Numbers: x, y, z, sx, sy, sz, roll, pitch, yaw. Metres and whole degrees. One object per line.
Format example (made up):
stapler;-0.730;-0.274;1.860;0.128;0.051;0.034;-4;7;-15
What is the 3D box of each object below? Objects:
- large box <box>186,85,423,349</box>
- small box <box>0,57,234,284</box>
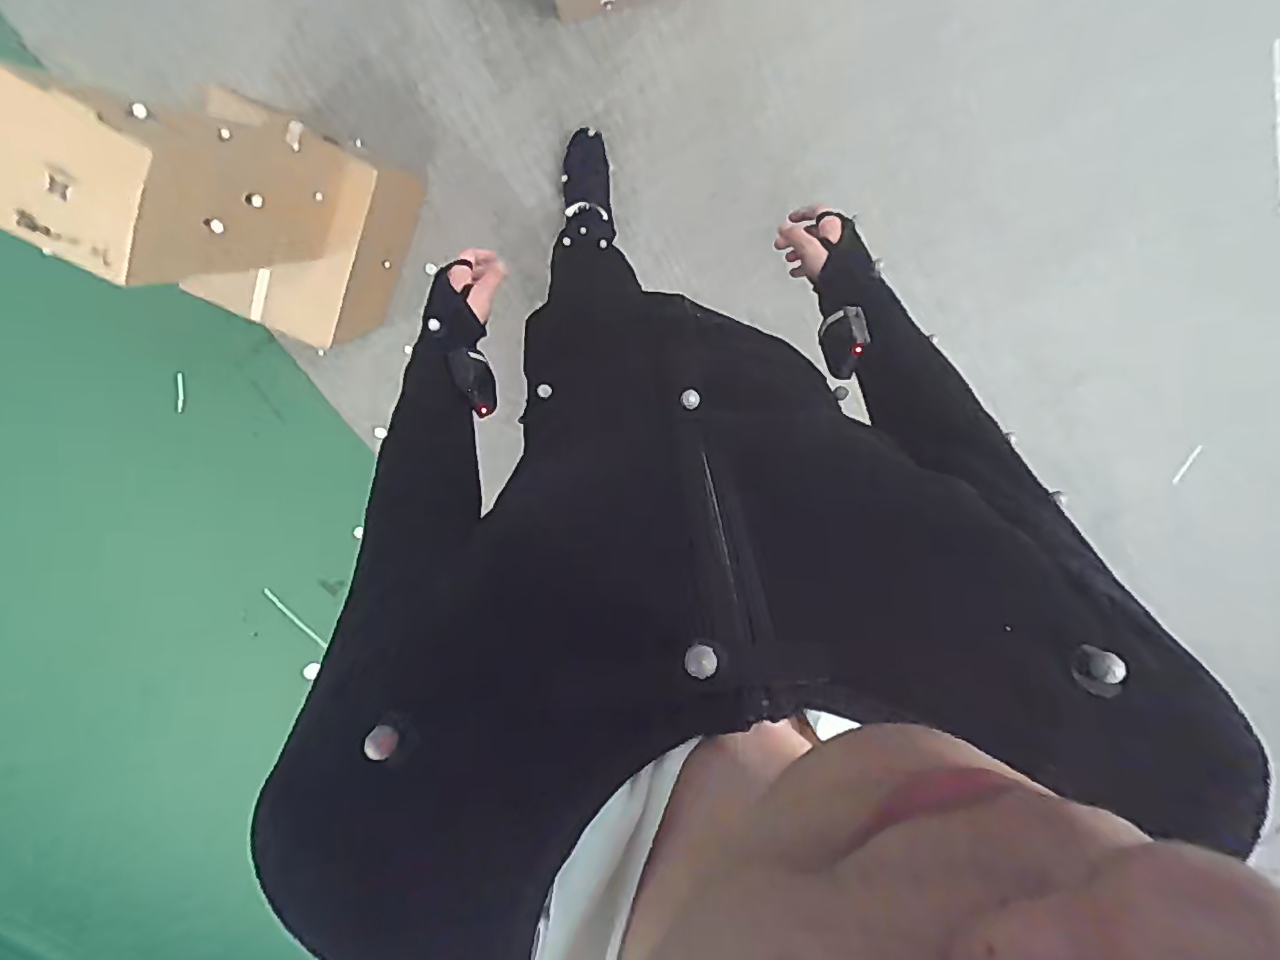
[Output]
large box;-0.742;-0.578;1.231;0.320;0.320;0.408;24;113;-12
small box;-0.669;-0.380;0.693;0.168;0.176;0.179;28;110;-15
